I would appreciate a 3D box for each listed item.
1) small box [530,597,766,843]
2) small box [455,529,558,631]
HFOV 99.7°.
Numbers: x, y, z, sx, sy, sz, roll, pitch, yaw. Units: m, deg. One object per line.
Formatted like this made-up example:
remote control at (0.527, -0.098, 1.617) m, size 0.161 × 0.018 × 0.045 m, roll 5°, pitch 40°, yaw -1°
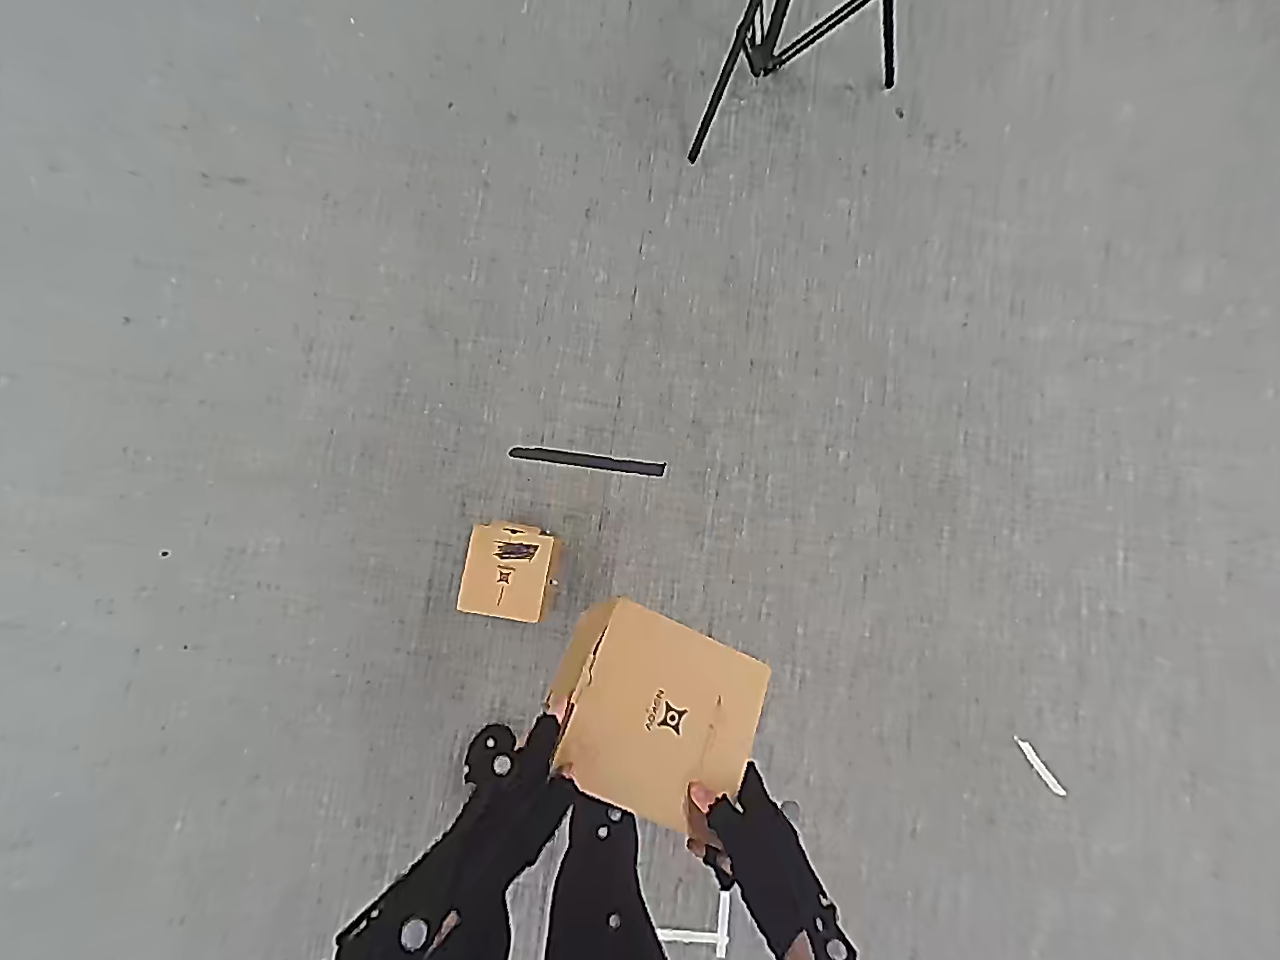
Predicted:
small box at (-0.001, 0.244, 0.572) m, size 0.179 × 0.176 × 0.168 m, roll 27°, pitch 66°, yaw -8°
small box at (-0.272, 0.207, 1.149) m, size 0.168 × 0.176 × 0.179 m, roll 10°, pitch 83°, yaw -1°
